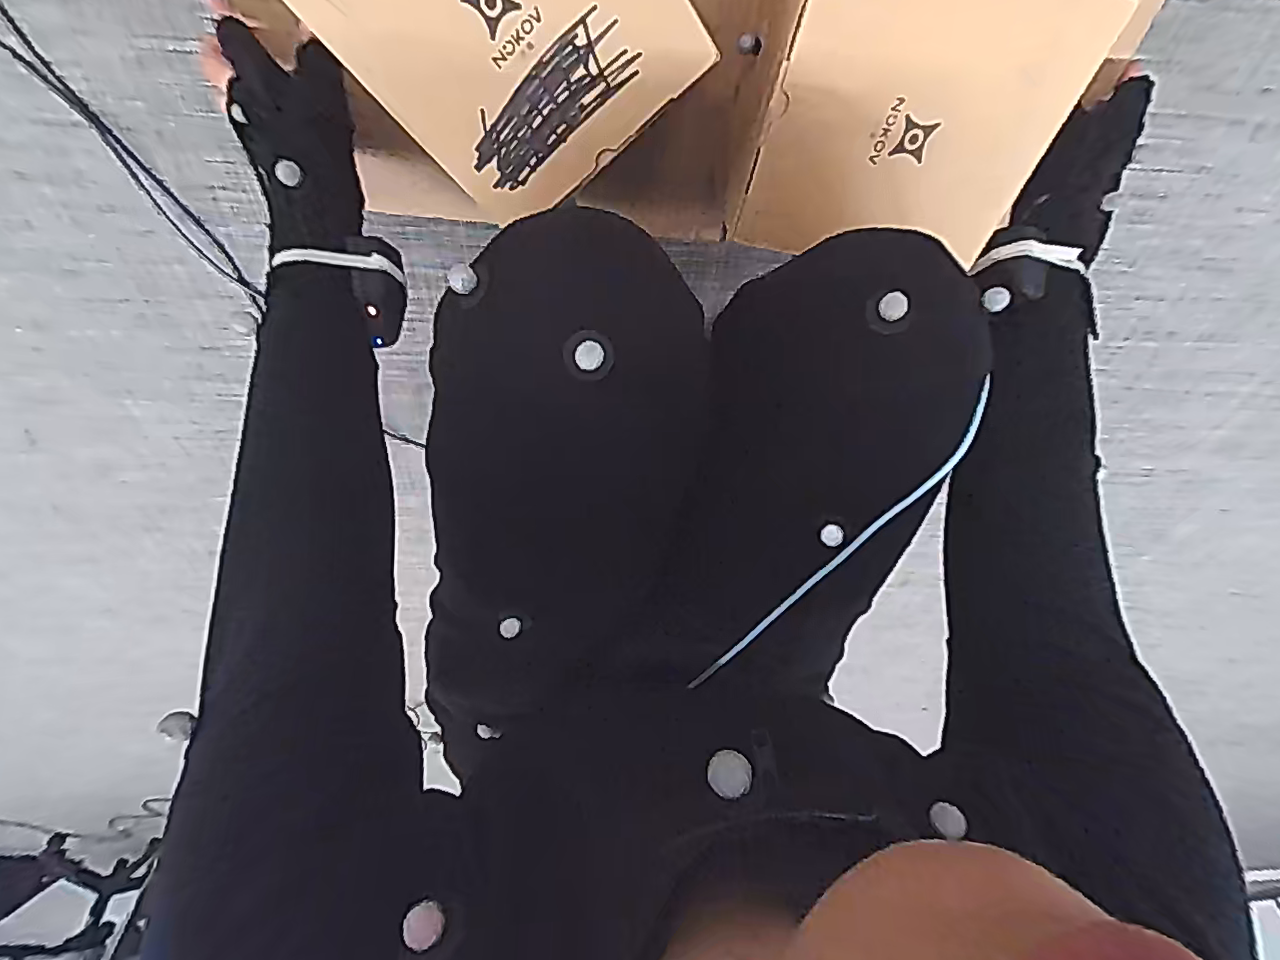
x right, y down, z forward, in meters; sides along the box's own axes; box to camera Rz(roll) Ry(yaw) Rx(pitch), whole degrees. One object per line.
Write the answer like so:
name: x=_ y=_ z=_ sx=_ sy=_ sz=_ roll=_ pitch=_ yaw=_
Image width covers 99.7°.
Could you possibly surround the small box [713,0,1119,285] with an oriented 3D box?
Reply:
small box: x=0.160 y=-0.270 z=0.388 sx=0.179 sy=0.176 sz=0.168 roll=10 pitch=135 yaw=-6
